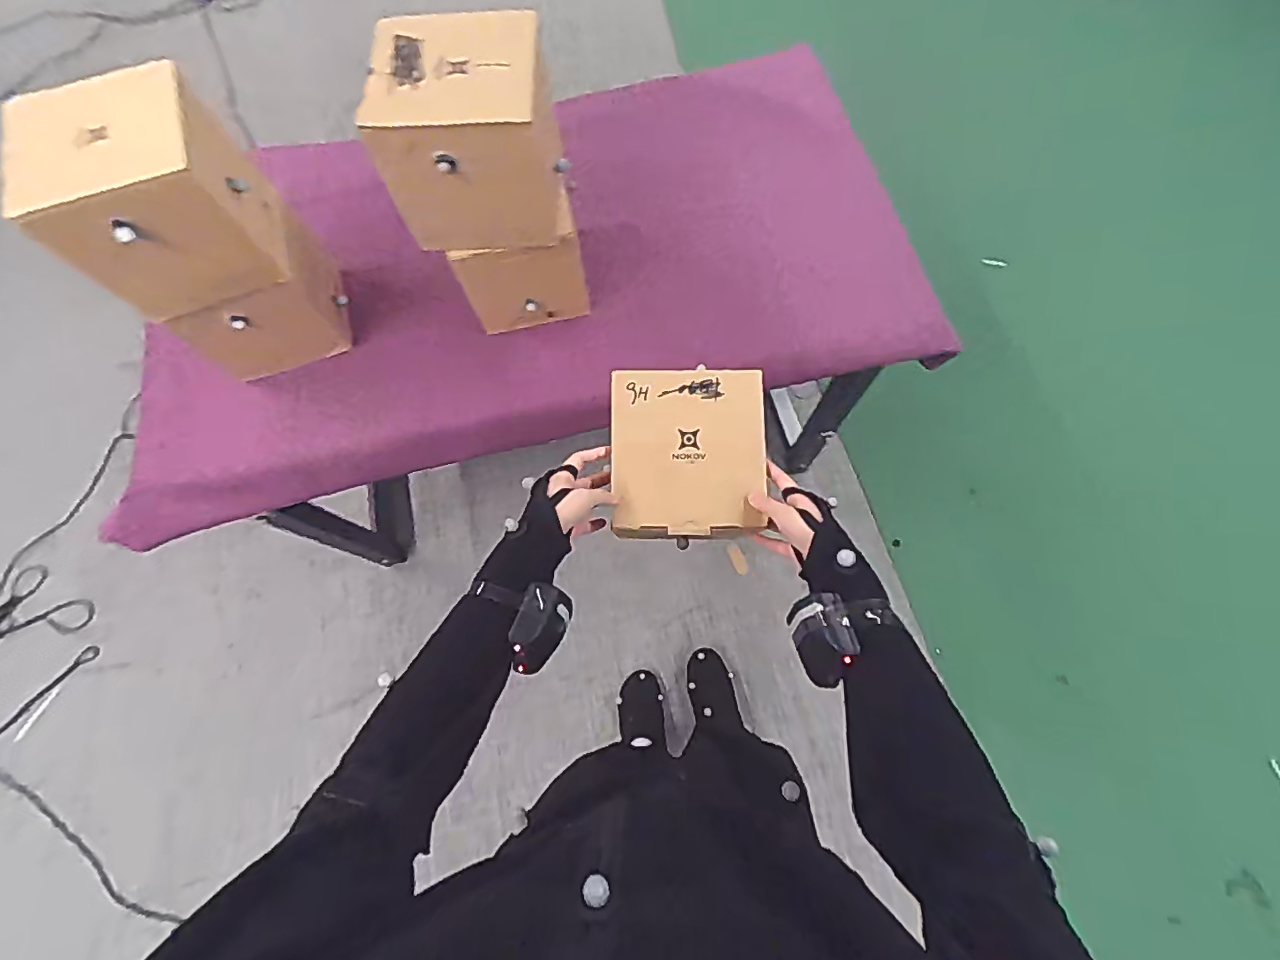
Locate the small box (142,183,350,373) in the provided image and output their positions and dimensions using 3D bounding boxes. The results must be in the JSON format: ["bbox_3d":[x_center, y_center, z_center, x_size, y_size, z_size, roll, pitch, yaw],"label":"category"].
[{"bbox_3d":[-0.552,-0.276,0.771,0.179,0.176,0.168,-18,73,-5],"label":"small box"}]

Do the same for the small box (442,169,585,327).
[{"bbox_3d":[-0.182,-0.353,0.785,0.168,0.176,0.179,-12,72,-2],"label":"small box"}]

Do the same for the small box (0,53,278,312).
[{"bbox_3d":[-0.550,-0.325,0.617,0.179,0.176,0.168,-20,73,-4],"label":"small box"}]

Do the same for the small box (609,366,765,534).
[{"bbox_3d":[0.053,-0.026,0.651,0.168,0.176,0.179,1,81,1],"label":"small box"}]

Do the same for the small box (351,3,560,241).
[{"bbox_3d":[-0.196,-0.401,0.627,0.179,0.176,0.168,-2,71,1],"label":"small box"}]
